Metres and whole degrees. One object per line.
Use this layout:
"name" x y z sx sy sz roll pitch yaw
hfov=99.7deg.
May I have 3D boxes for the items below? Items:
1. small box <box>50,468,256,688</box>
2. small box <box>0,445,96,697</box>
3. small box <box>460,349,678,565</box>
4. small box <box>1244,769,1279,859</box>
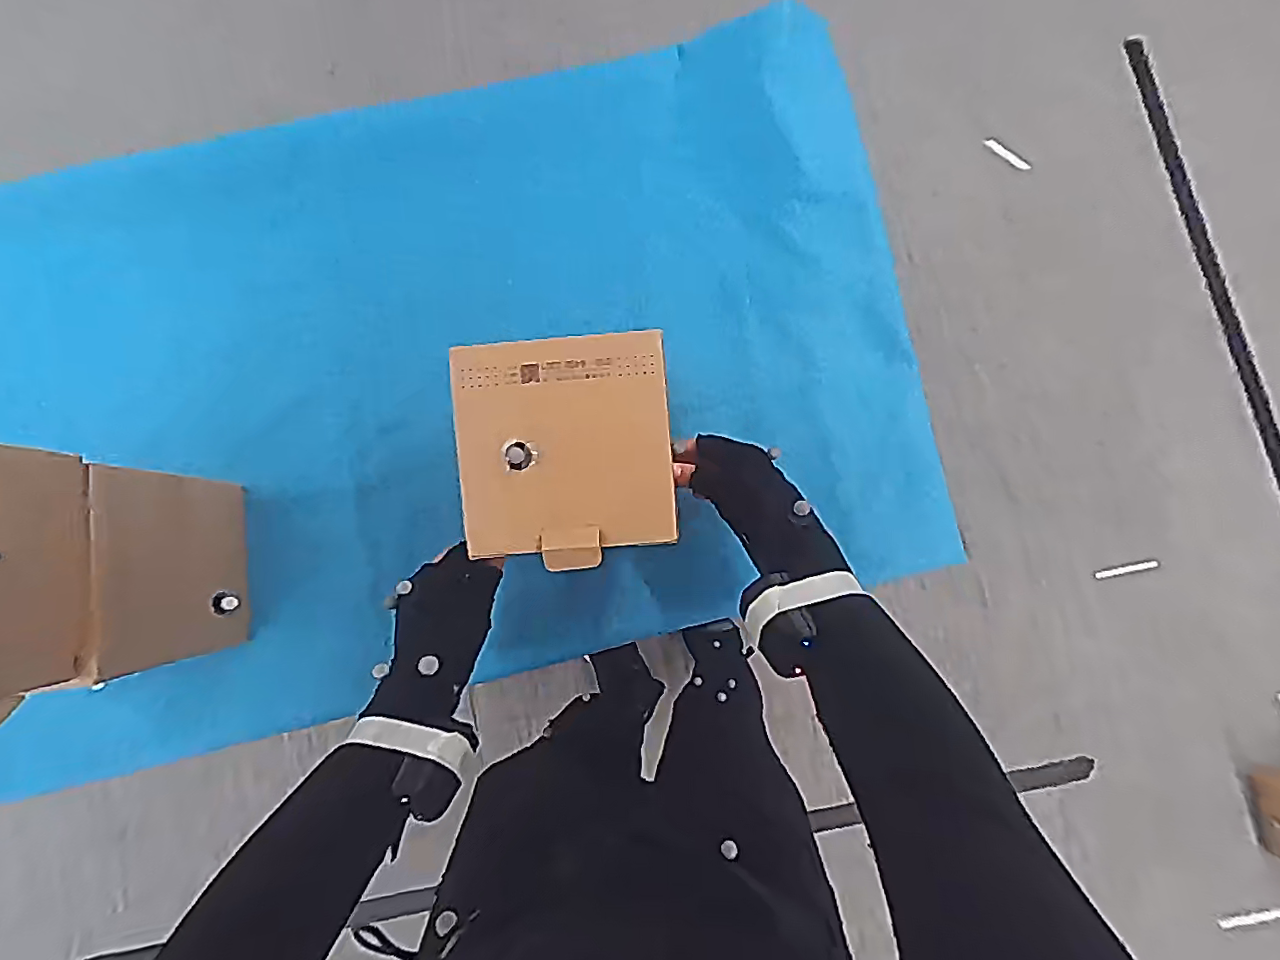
"small box" -0.503 0.093 0.506 0.168 0.176 0.179 -7 84 -1
"small box" -0.512 0.065 0.344 0.168 0.176 0.179 -4 85 0
"small box" -0.060 -0.024 0.506 0.168 0.179 0.176 -4 91 -1
"small box" 1.484 0.750 1.164 0.168 0.176 0.179 -8 85 -1
